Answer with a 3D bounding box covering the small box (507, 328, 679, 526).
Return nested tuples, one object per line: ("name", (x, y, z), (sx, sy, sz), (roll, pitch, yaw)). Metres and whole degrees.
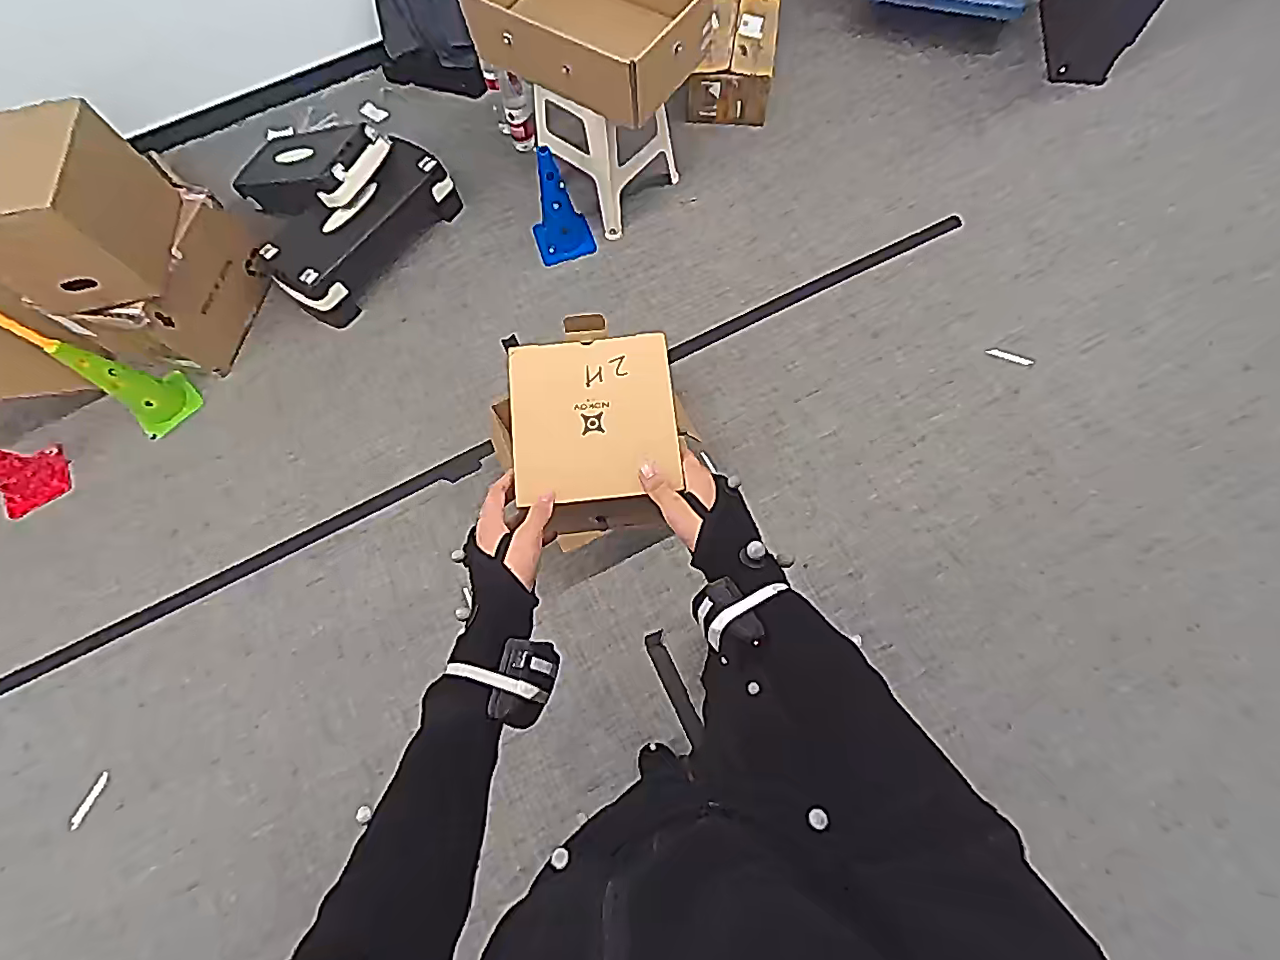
("small box", (-0.048, -0.047, 0.613), (0.168, 0.176, 0.179), (-5, 75, -2))
